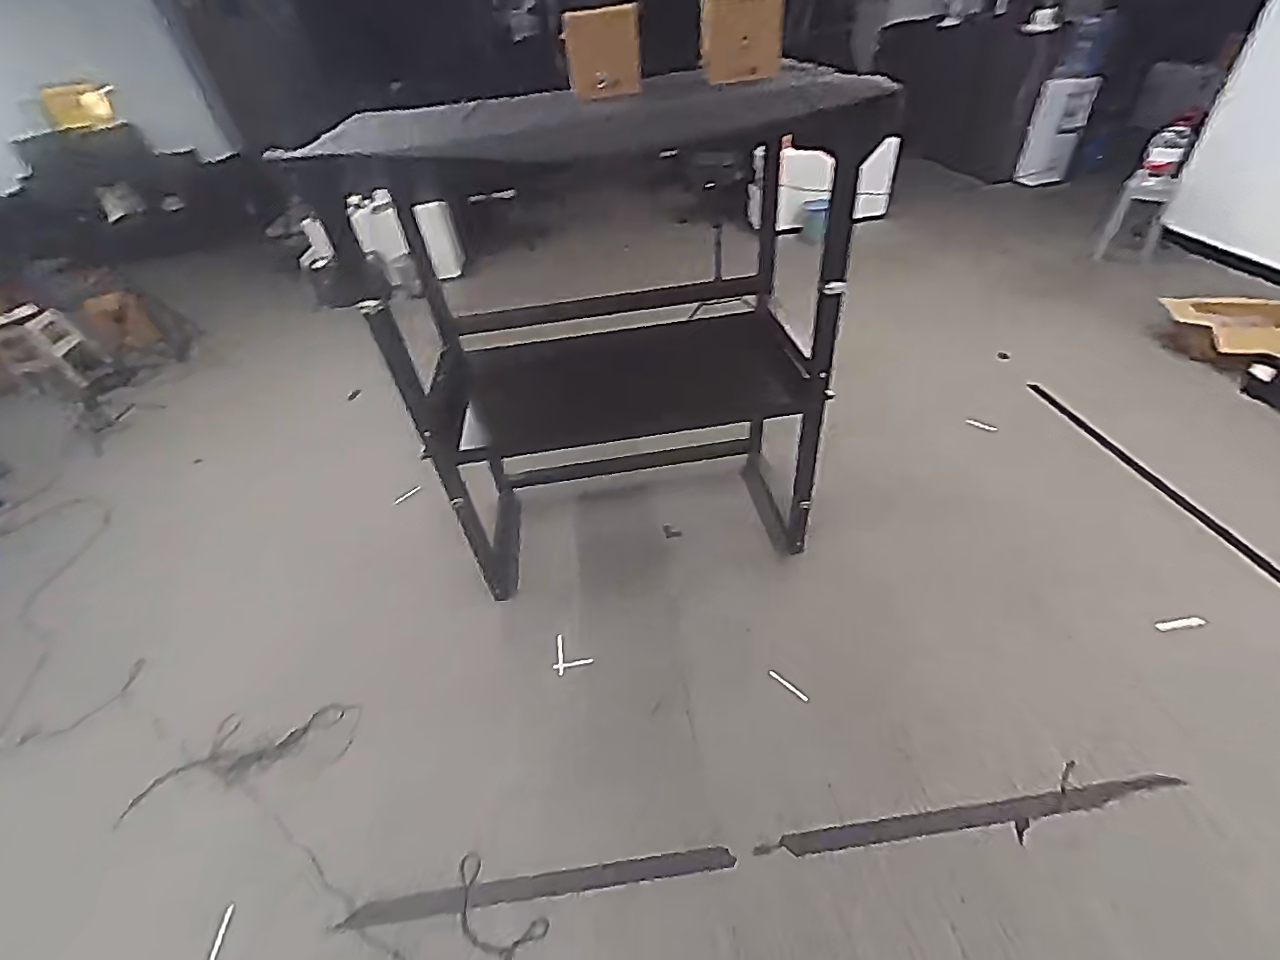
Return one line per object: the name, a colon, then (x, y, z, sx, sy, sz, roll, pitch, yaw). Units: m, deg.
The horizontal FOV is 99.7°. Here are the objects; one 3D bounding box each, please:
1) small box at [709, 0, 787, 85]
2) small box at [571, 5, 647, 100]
small box: (0.259, -1.082, 1.321, 0.168, 0.176, 0.179, -4, 44, 3)
small box: (-0.077, -1.066, 1.351, 0.168, 0.176, 0.179, -9, 42, -1)
